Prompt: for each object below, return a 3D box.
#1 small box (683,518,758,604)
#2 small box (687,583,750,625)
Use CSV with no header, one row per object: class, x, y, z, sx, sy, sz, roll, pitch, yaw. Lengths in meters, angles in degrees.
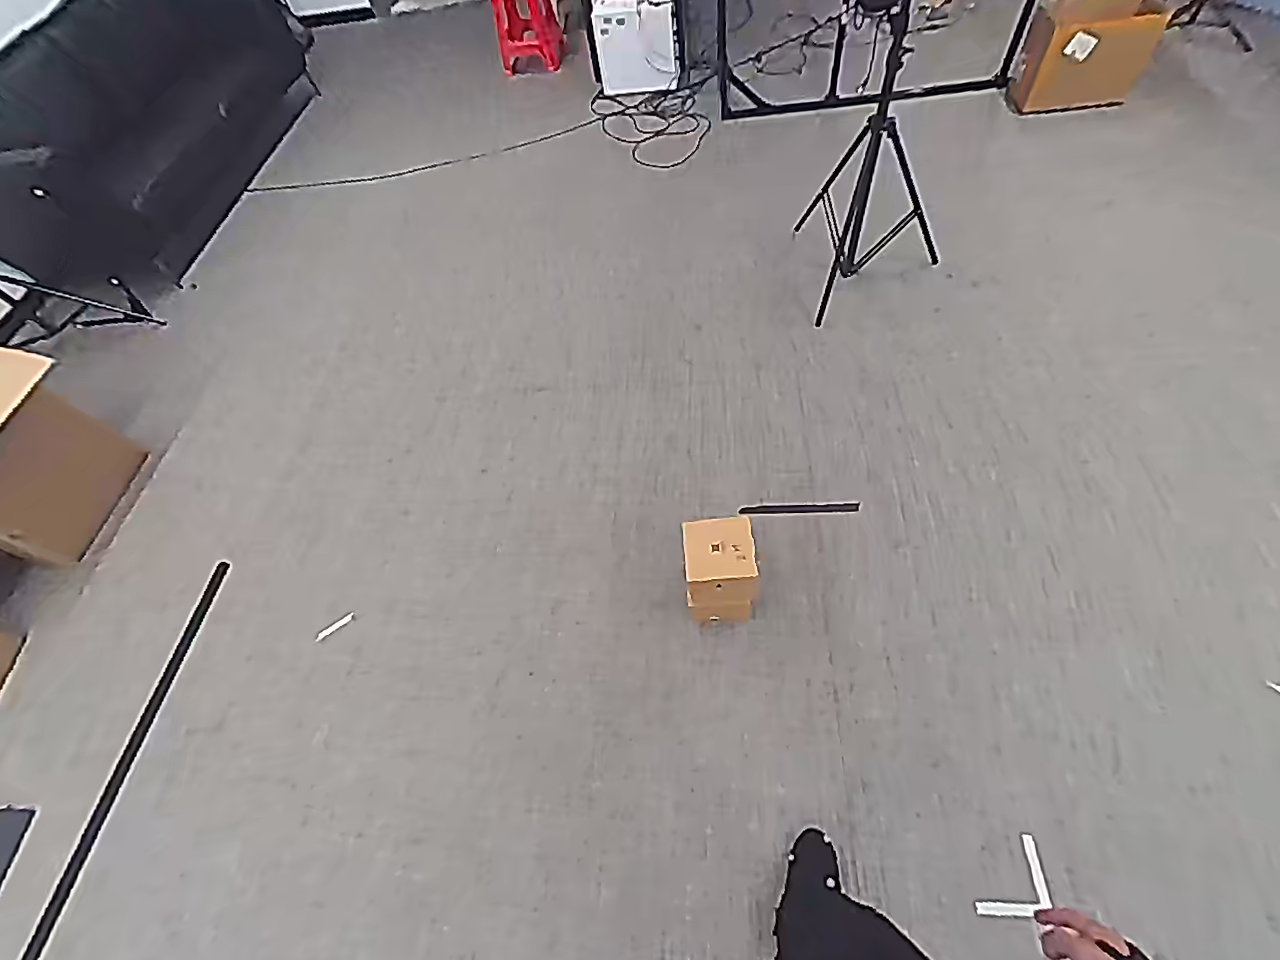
small box,0.210,0.216,1.407,0.179,0.176,0.168,-6,58,7
small box,0.221,0.304,1.546,0.168,0.176,0.179,-5,59,8
